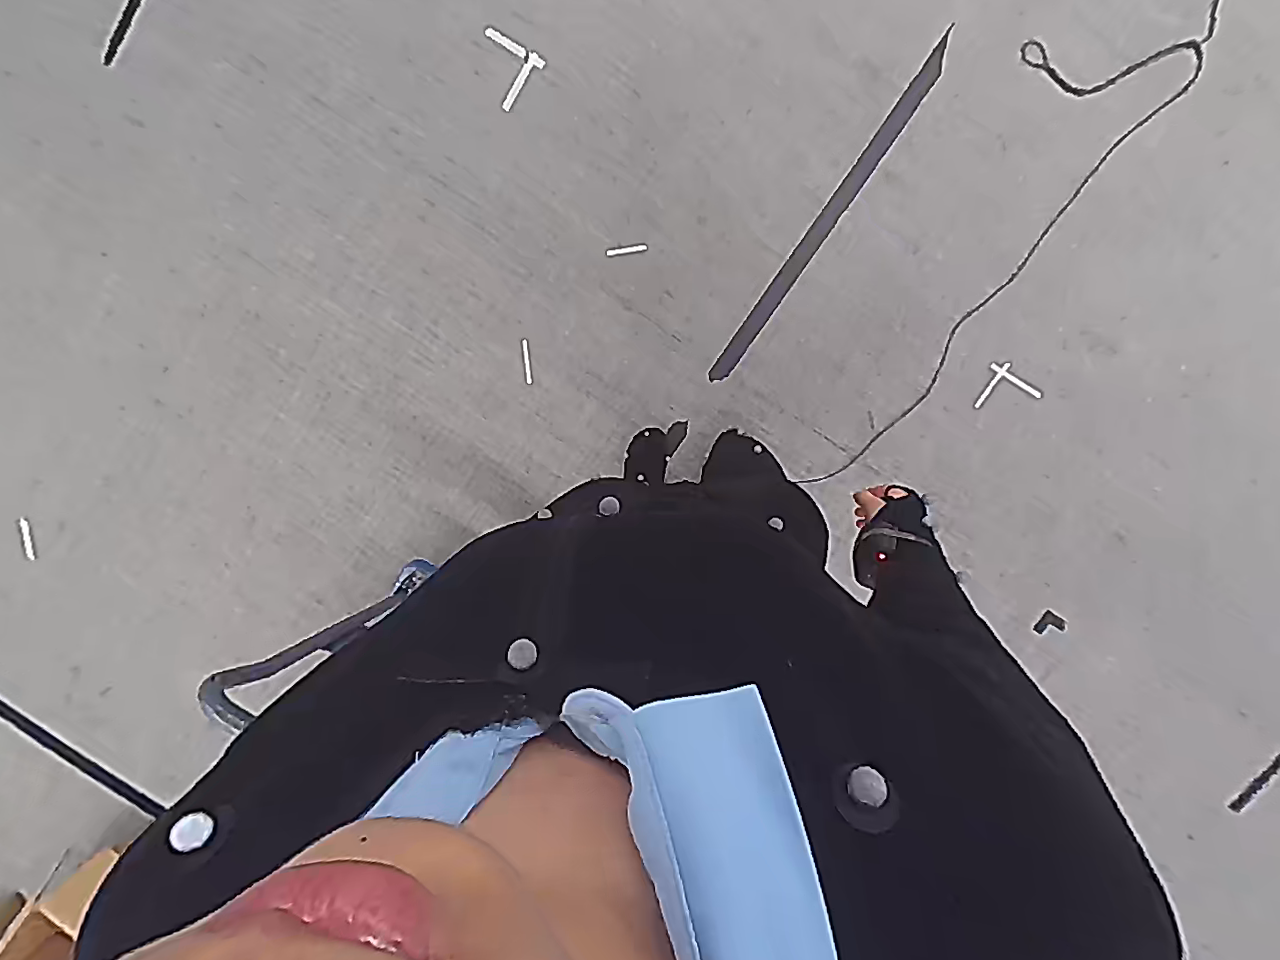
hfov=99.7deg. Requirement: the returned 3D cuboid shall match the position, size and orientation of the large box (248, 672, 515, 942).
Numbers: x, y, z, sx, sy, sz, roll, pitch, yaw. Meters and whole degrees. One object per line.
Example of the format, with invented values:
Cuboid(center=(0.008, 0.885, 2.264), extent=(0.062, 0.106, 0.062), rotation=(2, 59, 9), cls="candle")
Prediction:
Cuboid(center=(-0.568, 0.726, 1.260), extent=(0.408, 0.320, 0.320), rotation=(31, 96, -1), cls="large box")
